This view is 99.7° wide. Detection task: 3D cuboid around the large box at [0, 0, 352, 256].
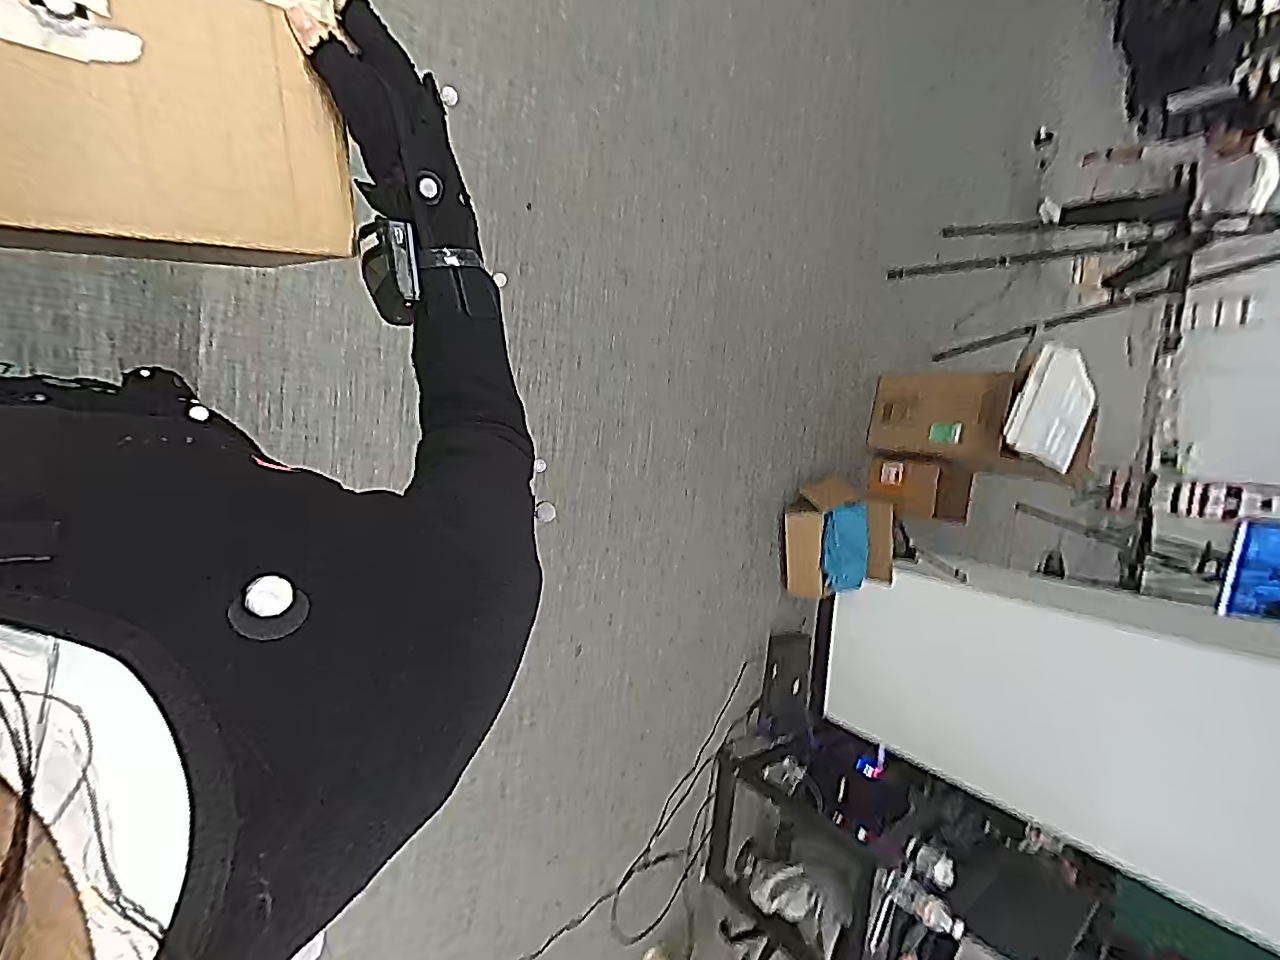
[{"bbox_3d":[-0.469,-0.326,0.349,0.408,0.320,0.320,-15,116,-41],"label":"large box"}]
